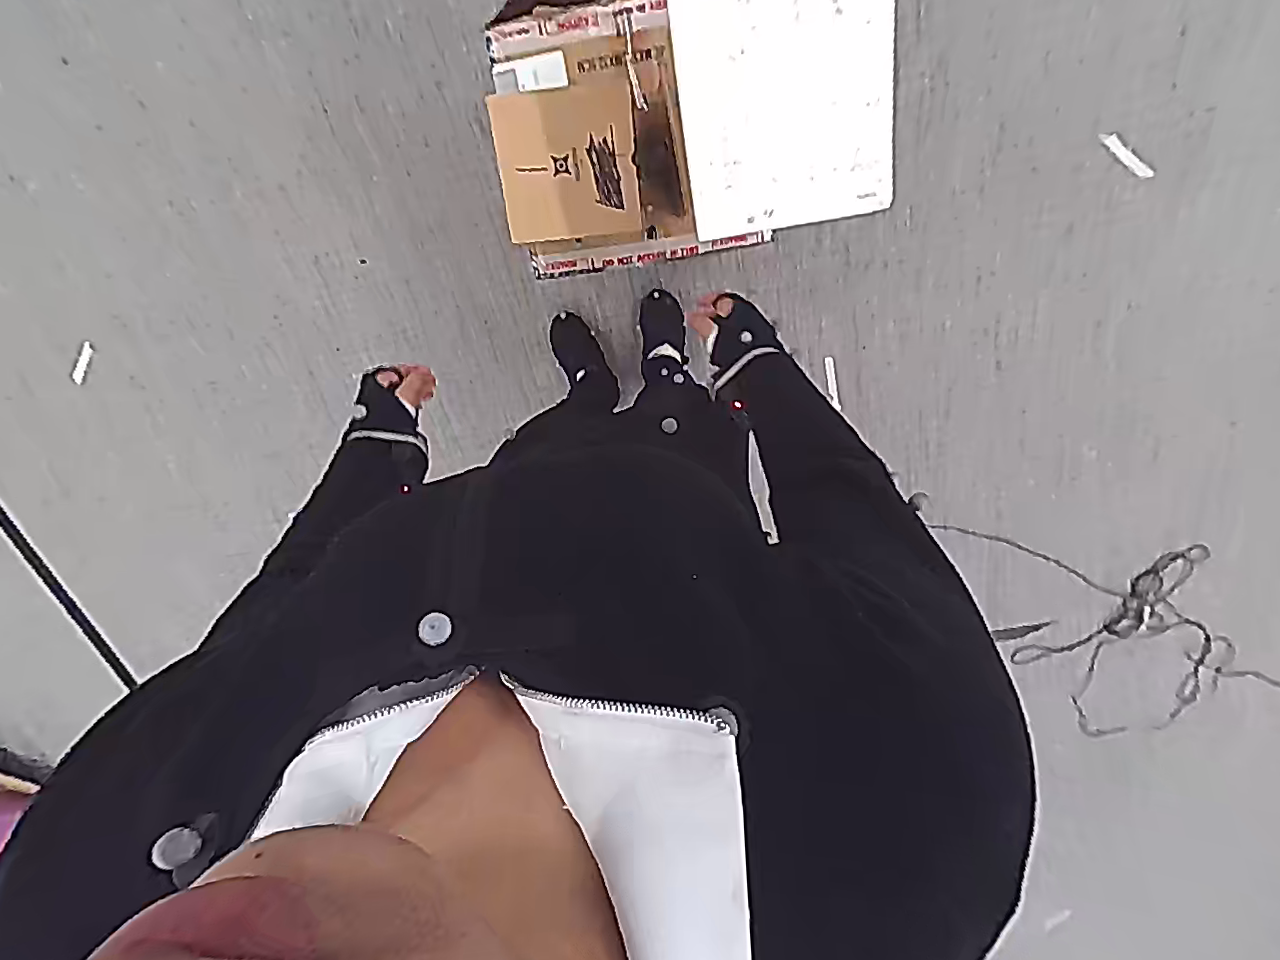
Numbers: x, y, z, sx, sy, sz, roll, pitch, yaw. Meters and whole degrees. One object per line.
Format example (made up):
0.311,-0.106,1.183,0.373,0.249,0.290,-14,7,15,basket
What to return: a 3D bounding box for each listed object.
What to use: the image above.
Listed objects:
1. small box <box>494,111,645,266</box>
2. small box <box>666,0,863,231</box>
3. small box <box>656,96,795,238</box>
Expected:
-0.086,-0.402,0.761,0.179,0.176,0.168,-4,115,4,small box
0.127,-0.384,0.593,0.168,0.176,0.179,-12,114,3,small box
0.127,-0.443,0.744,0.179,0.176,0.168,-13,114,4,small box
